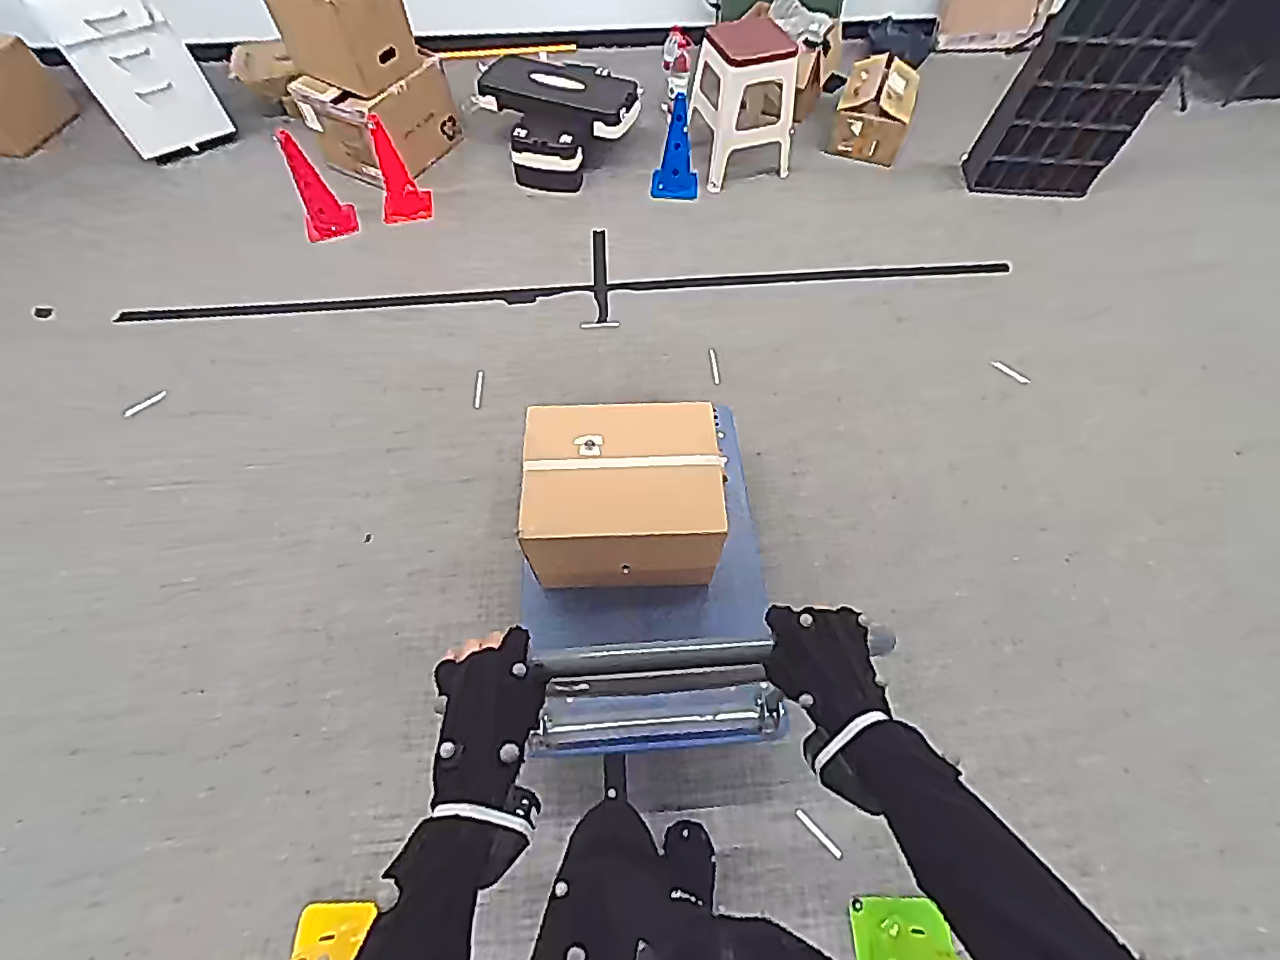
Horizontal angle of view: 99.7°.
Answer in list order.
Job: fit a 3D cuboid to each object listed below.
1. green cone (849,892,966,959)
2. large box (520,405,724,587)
[{"bbox_3d":[0.540,0.876,0.946,0.202,0.368,0.200,0,60,-1],"label":"green cone"},{"bbox_3d":[-0.039,0.050,1.248,0.408,0.320,0.320,-2,61,-1],"label":"large box"}]
